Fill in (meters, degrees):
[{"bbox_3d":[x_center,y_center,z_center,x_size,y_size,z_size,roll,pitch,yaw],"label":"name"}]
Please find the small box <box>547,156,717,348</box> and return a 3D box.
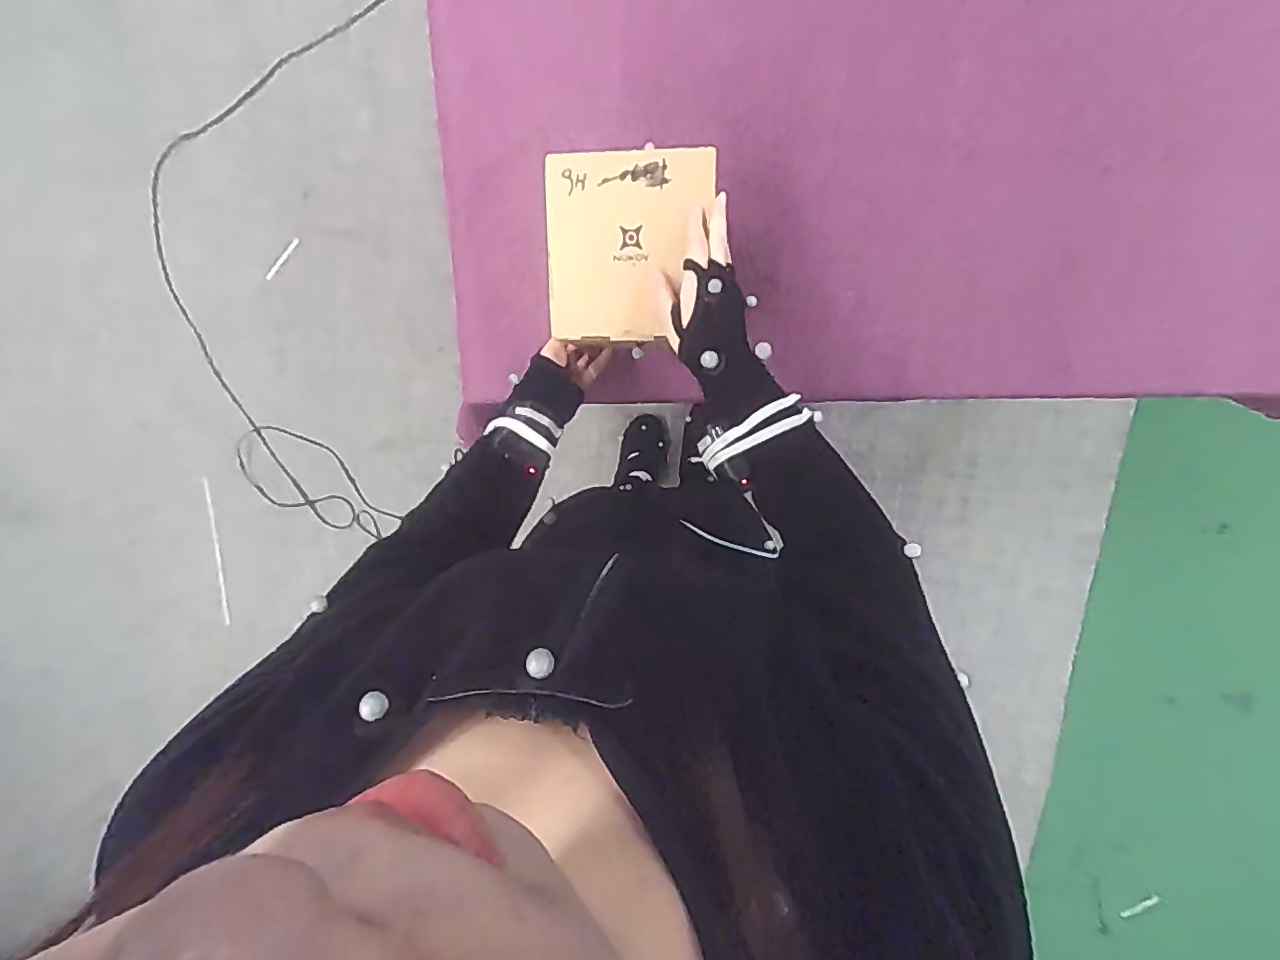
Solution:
[{"bbox_3d":[-0.004,-0.241,0.610,0.168,0.176,0.179,2,103,4],"label":"small box"}]
